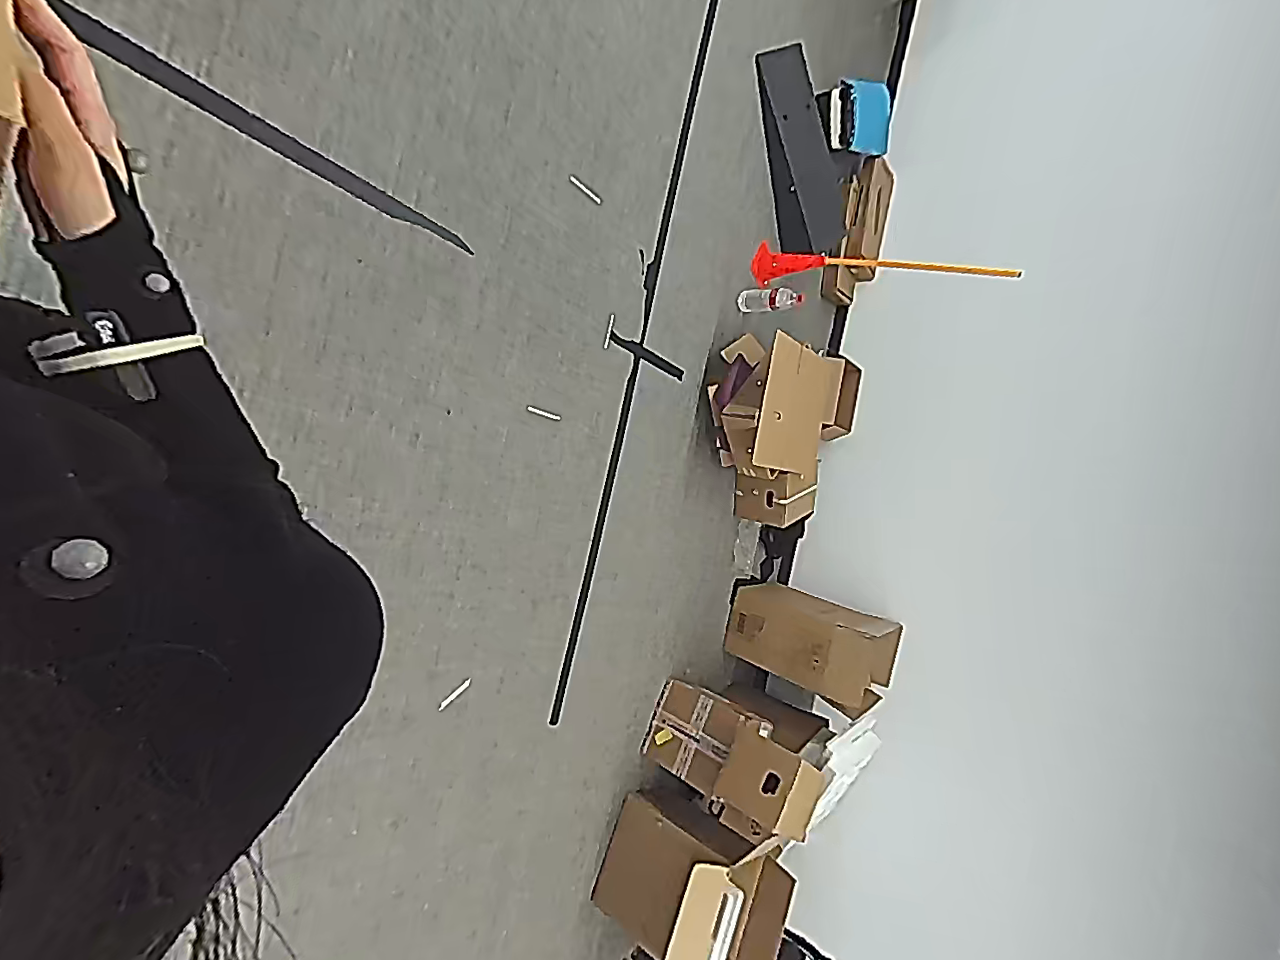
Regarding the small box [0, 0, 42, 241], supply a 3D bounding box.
[{"bbox_3d":[-0.399,-0.232,0.235,0.168,0.176,0.179,-5,89,-54],"label":"small box"}]
